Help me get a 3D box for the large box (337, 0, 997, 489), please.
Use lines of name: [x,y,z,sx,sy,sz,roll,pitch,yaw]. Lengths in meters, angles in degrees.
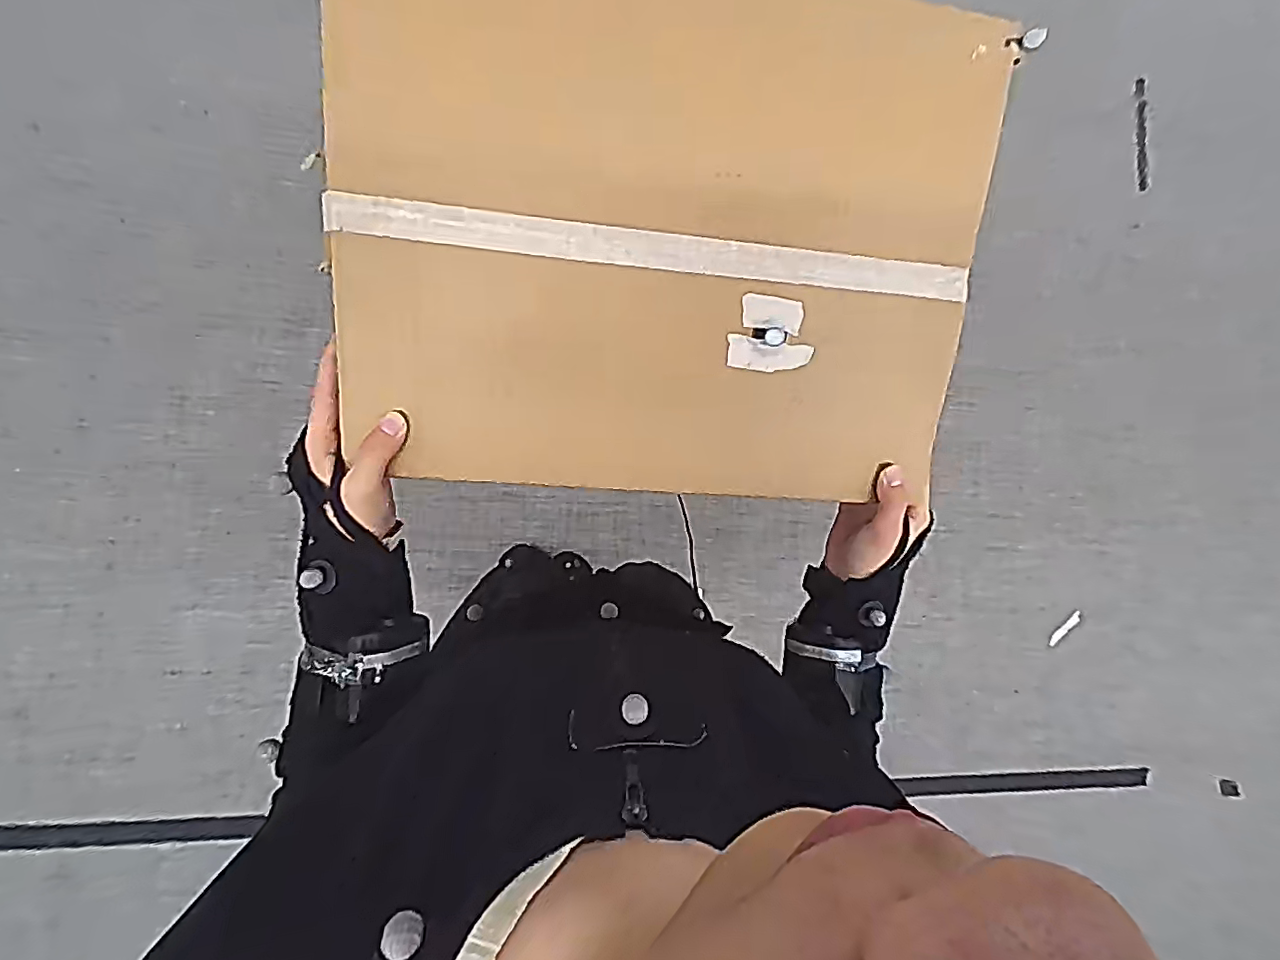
large box: [0.001,-0.181,0.490,0.408,0.320,0.320,2,104,-10]
